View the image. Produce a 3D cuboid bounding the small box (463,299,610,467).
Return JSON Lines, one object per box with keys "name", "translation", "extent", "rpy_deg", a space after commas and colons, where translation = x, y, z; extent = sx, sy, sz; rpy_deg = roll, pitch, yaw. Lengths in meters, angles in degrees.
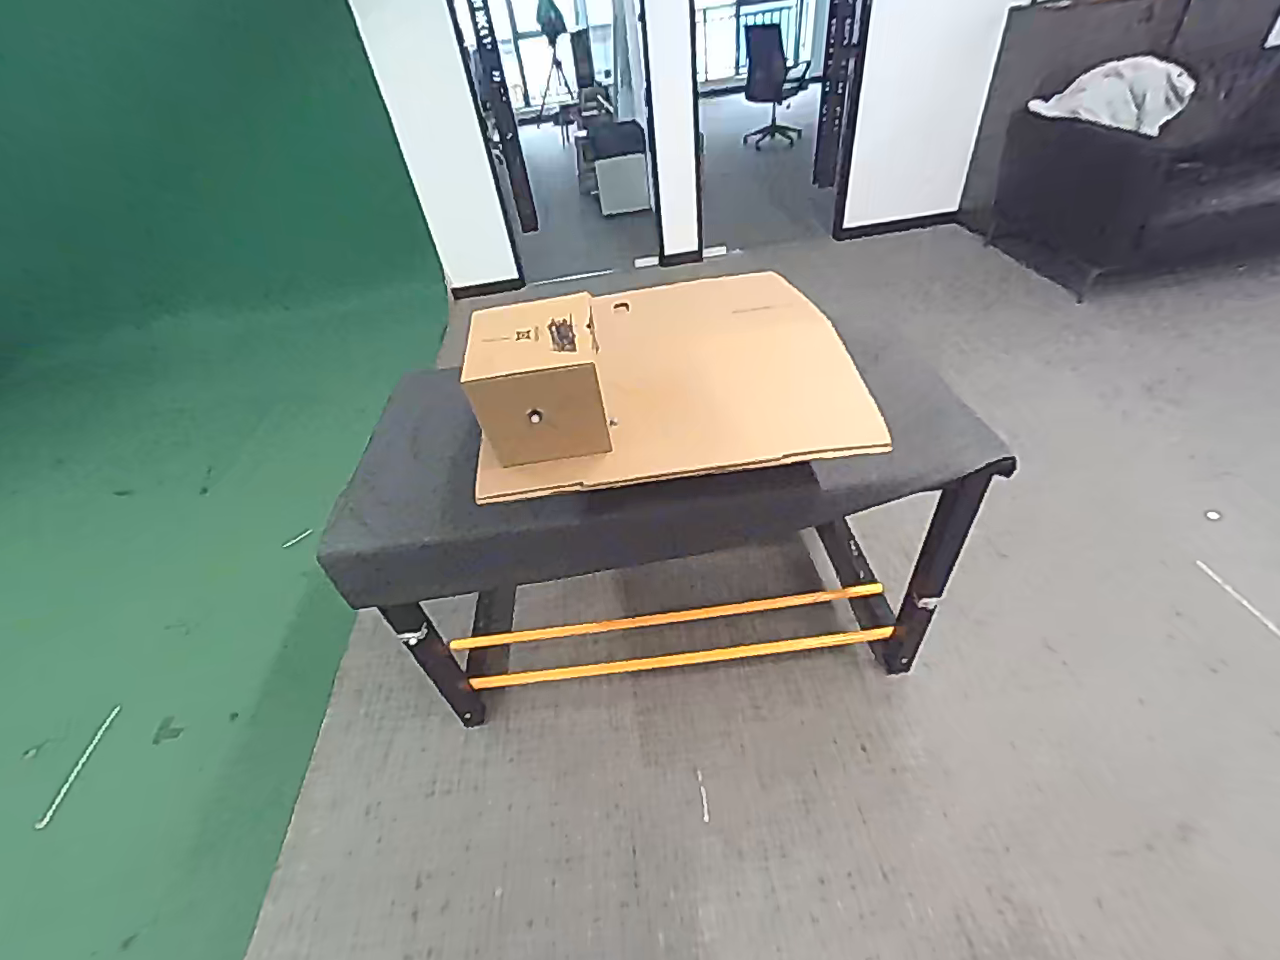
{"name": "small box", "translation": [-0.141, -0.140, 0.803], "extent": [0.179, 0.176, 0.168], "rpy_deg": [-9, 50, 2]}
